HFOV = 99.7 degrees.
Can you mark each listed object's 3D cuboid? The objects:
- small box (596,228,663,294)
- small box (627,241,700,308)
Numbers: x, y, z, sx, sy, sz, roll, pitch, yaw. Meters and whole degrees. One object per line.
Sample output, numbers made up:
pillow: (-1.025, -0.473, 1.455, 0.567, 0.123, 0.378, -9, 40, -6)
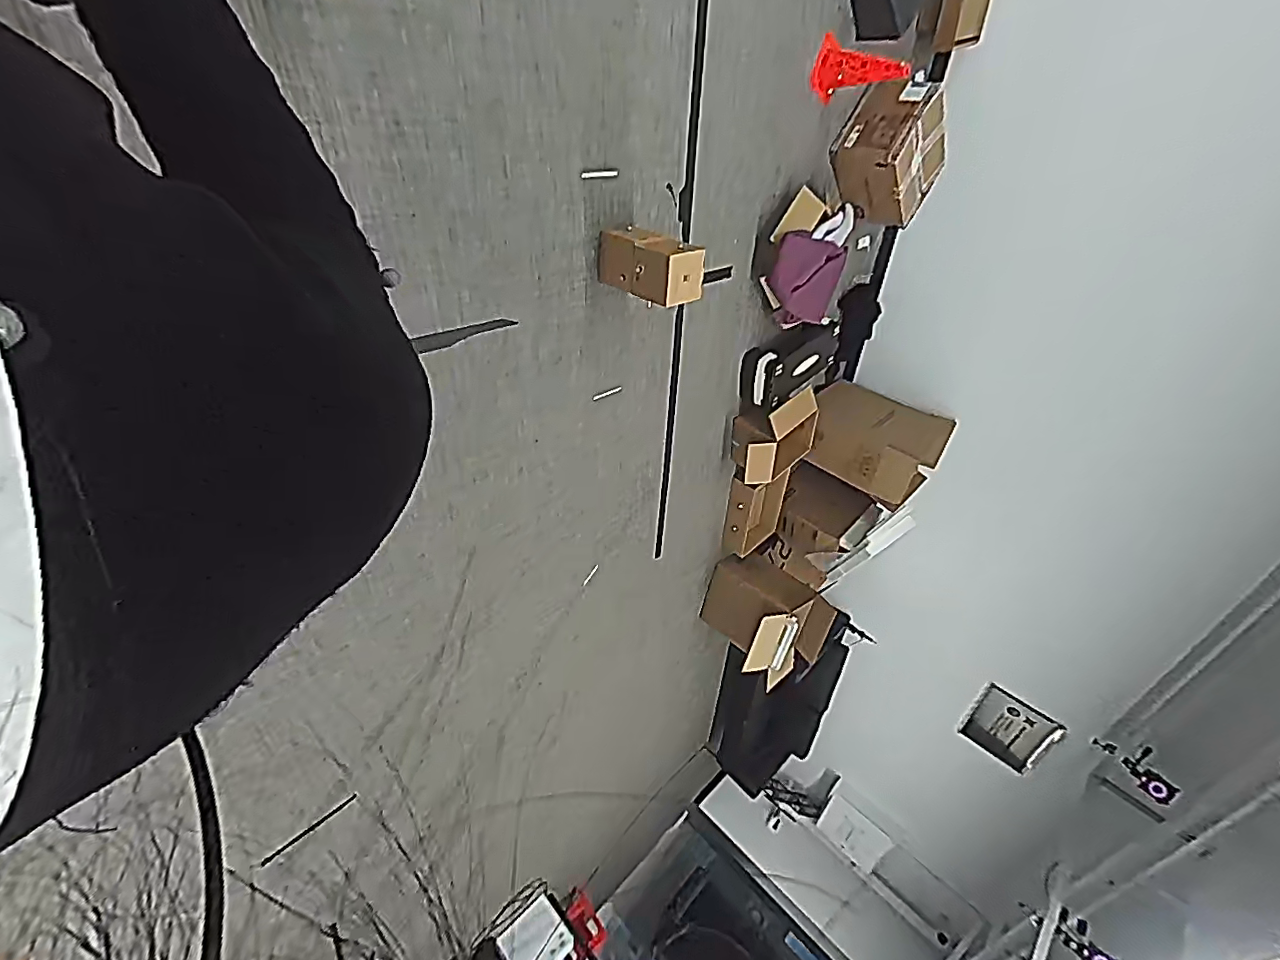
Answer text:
small box: (-0.041, -0.772, 1.898, 0.168, 0.176, 0.179, -28, 136, -37)
small box: (0.076, -0.696, 1.814, 0.179, 0.176, 0.168, -28, 135, -35)
